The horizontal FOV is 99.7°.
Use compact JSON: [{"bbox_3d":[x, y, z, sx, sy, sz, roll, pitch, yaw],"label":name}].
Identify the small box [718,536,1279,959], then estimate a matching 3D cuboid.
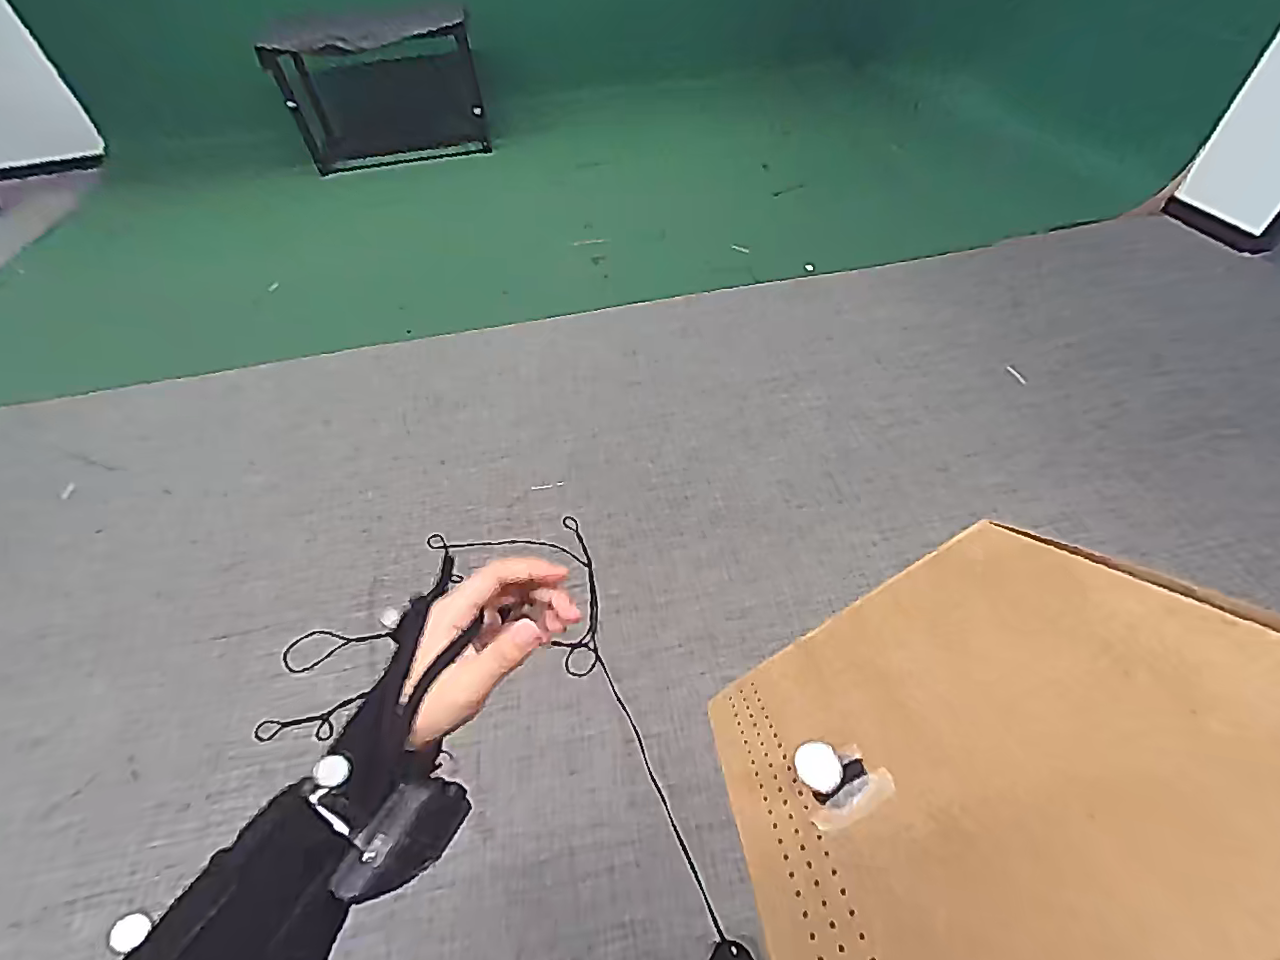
[{"bbox_3d":[0.151,0.153,0.205,0.176,0.168,0.179,-35,10,4],"label":"small box"}]
